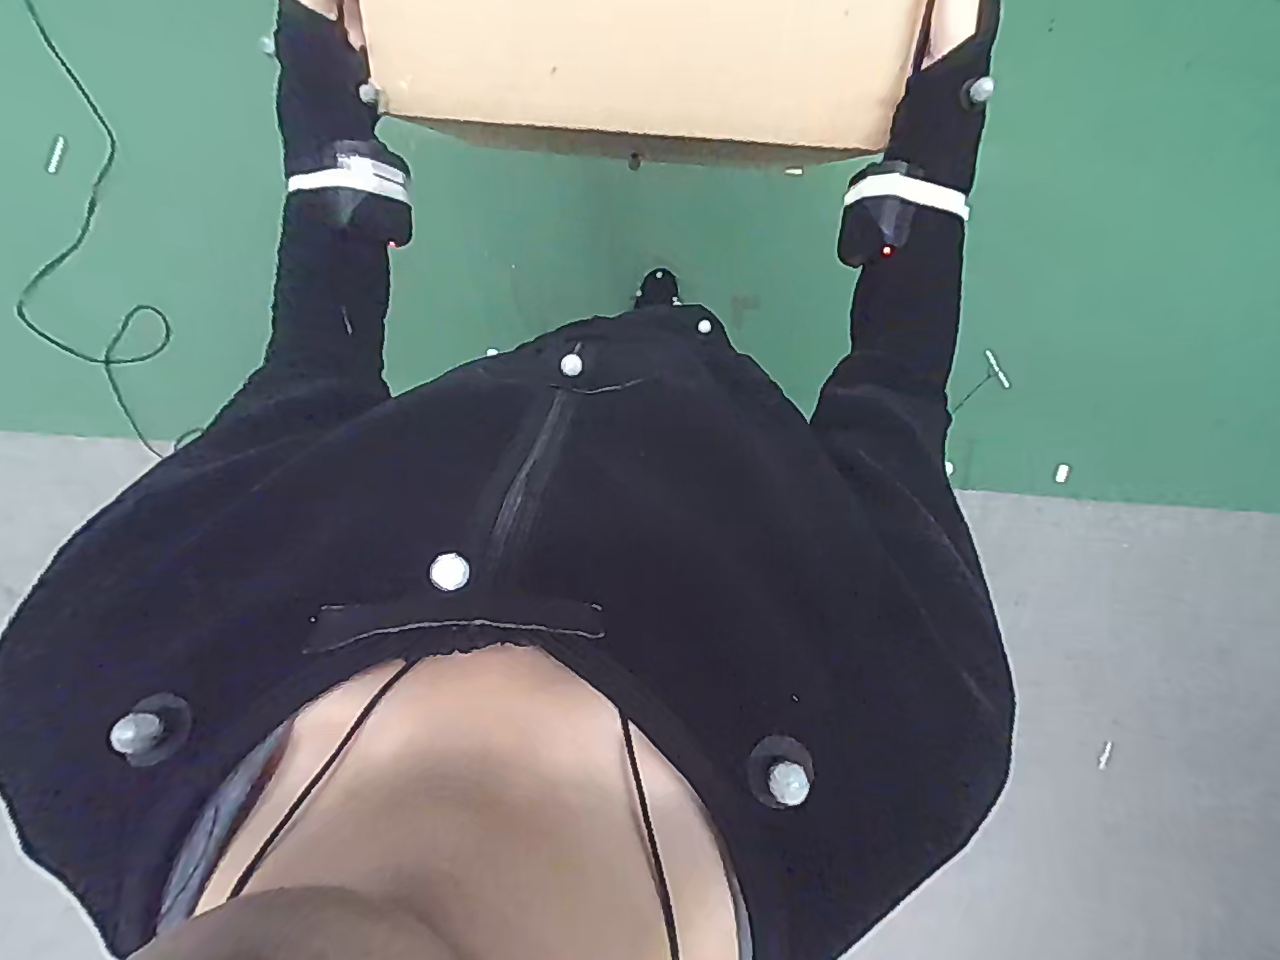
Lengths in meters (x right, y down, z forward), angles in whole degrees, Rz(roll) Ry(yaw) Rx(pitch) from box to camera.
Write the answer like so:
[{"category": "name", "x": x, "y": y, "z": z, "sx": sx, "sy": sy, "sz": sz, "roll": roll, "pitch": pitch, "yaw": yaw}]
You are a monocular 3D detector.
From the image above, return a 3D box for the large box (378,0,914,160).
[{"category": "large box", "x": 0.008, "y": -0.485, "z": 0.497, "sx": 0.408, "sy": 0.320, "sz": 0.320, "roll": 2, "pitch": 117, "yaw": -2}]
